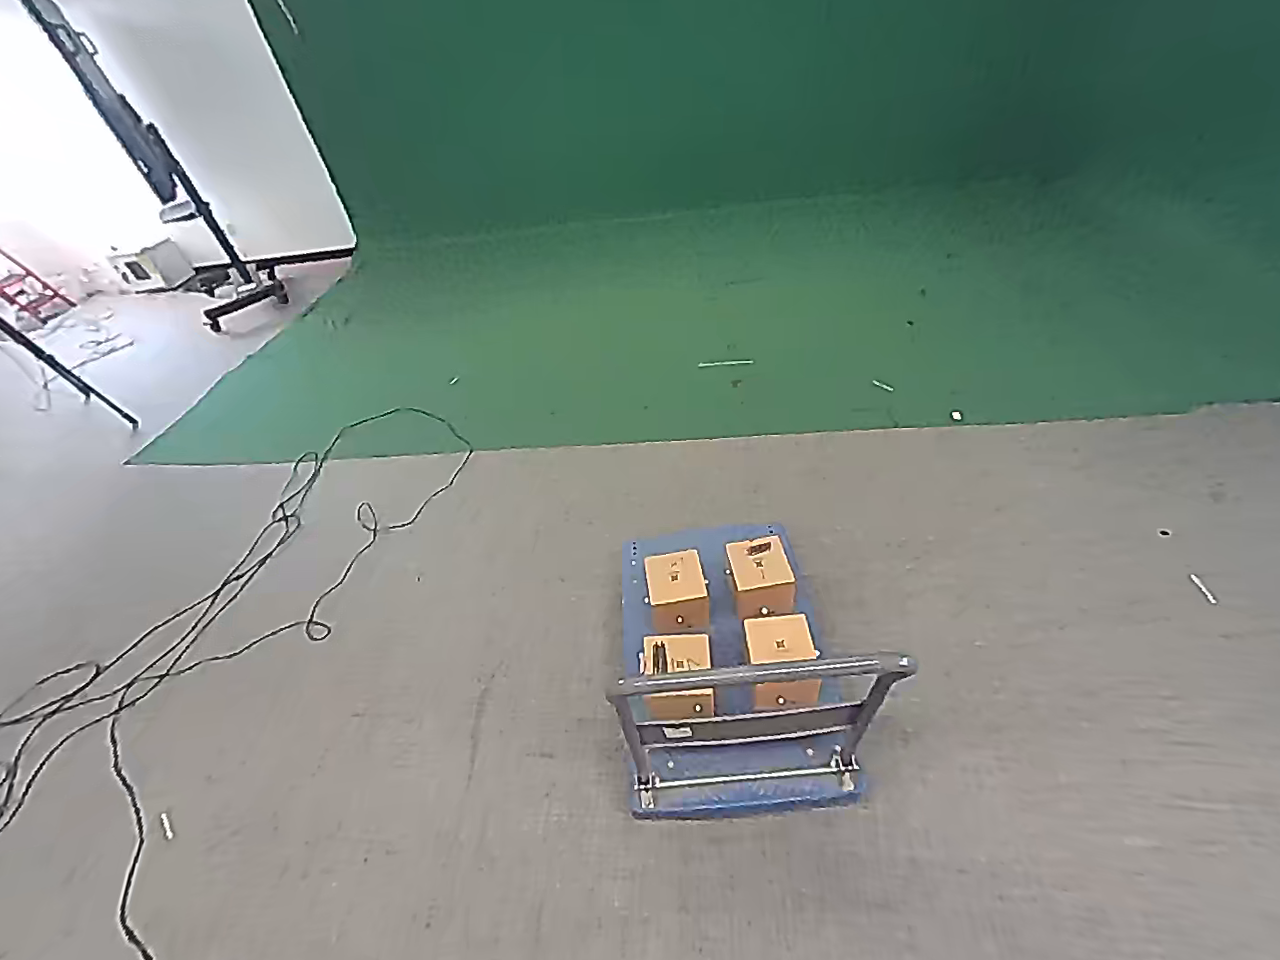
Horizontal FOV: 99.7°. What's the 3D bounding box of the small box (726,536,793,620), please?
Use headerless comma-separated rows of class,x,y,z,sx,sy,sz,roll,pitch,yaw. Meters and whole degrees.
small box,0.361,0.302,1.661,0.168,0.176,0.179,-10,44,1

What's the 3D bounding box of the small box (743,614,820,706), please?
small box,0.374,0.489,1.465,0.168,0.176,0.179,-6,44,4

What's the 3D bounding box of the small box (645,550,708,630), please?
small box,0.113,0.346,1.662,0.168,0.176,0.179,-9,43,0
